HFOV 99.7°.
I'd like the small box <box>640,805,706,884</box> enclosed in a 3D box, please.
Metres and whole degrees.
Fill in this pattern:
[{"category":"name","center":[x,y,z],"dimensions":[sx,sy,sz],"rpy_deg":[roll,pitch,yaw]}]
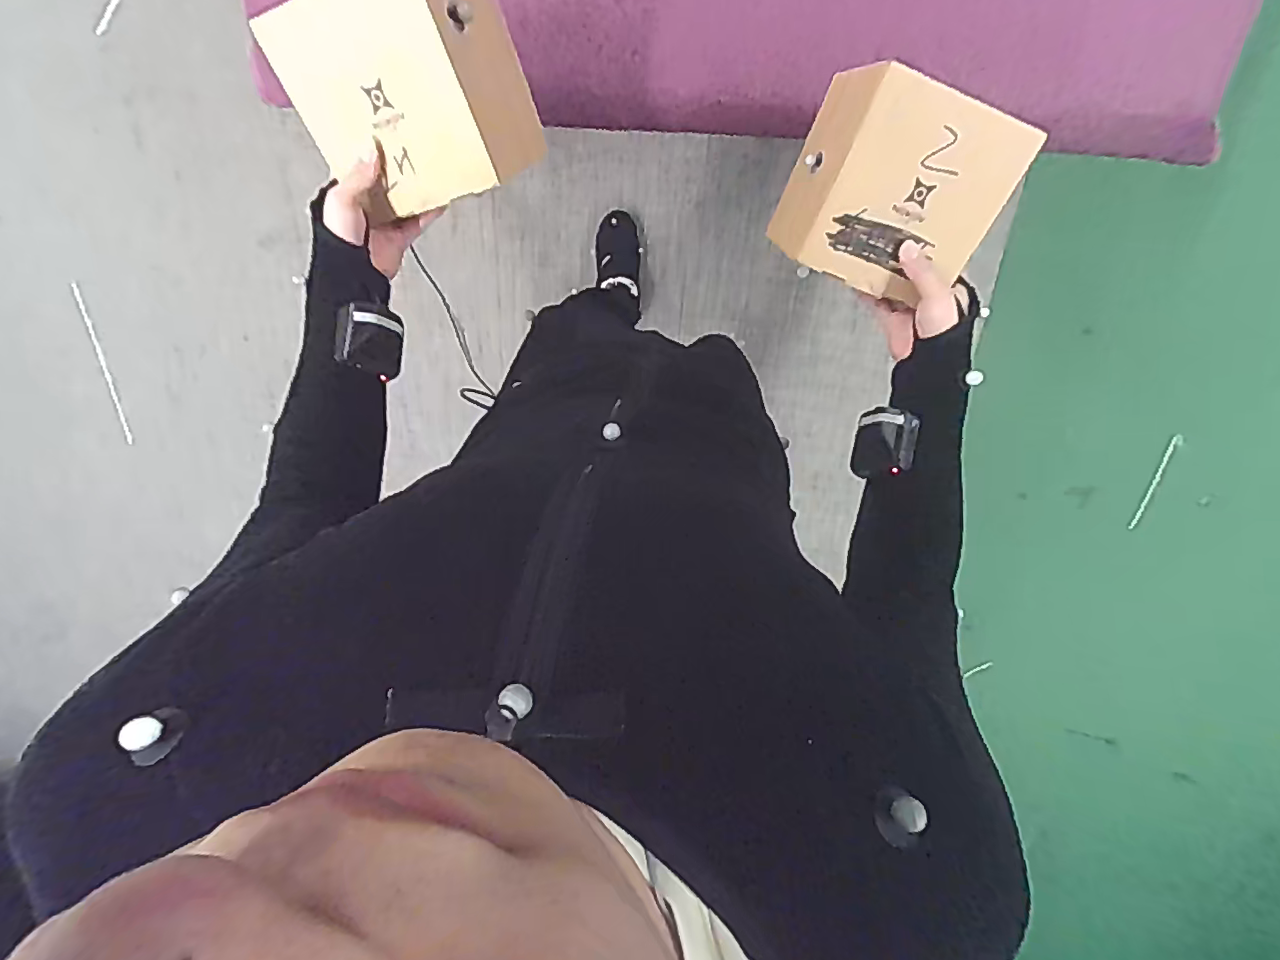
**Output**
[{"category":"small box","center":[0.104,1.183,1.742],"dimensions":[0.179,0.176,0.168],"rpy_deg":[11,114,-3]}]

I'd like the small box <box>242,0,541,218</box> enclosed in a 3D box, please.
[{"category":"small box","center":[-0.220,-0.390,0.535],"dimensions":[0.168,0.176,0.179],"rpy_deg":[-6,130,17]}]

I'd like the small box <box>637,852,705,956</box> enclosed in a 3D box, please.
[{"category":"small box","center":[0.091,1.244,1.590],"dimensions":[0.168,0.176,0.179],"rpy_deg":[11,113,-2]}]
